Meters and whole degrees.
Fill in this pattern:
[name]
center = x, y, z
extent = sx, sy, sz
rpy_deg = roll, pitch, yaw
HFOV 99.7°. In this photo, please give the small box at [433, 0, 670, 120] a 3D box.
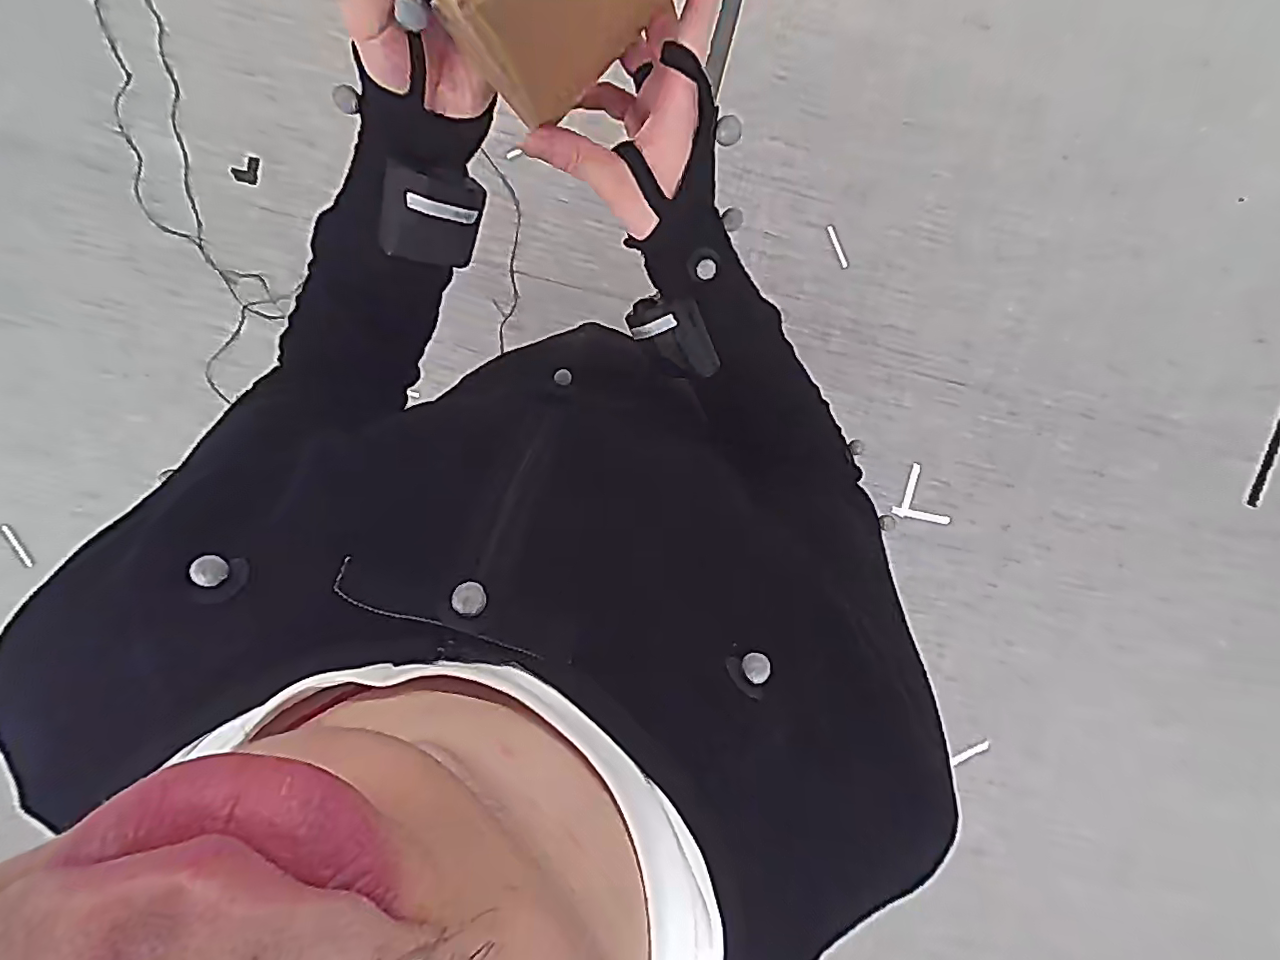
[small box]
center = -0.043, -0.283, 0.204
extent = 0.179, 0.176, 0.168
rpy_deg = -40, 108, 12
